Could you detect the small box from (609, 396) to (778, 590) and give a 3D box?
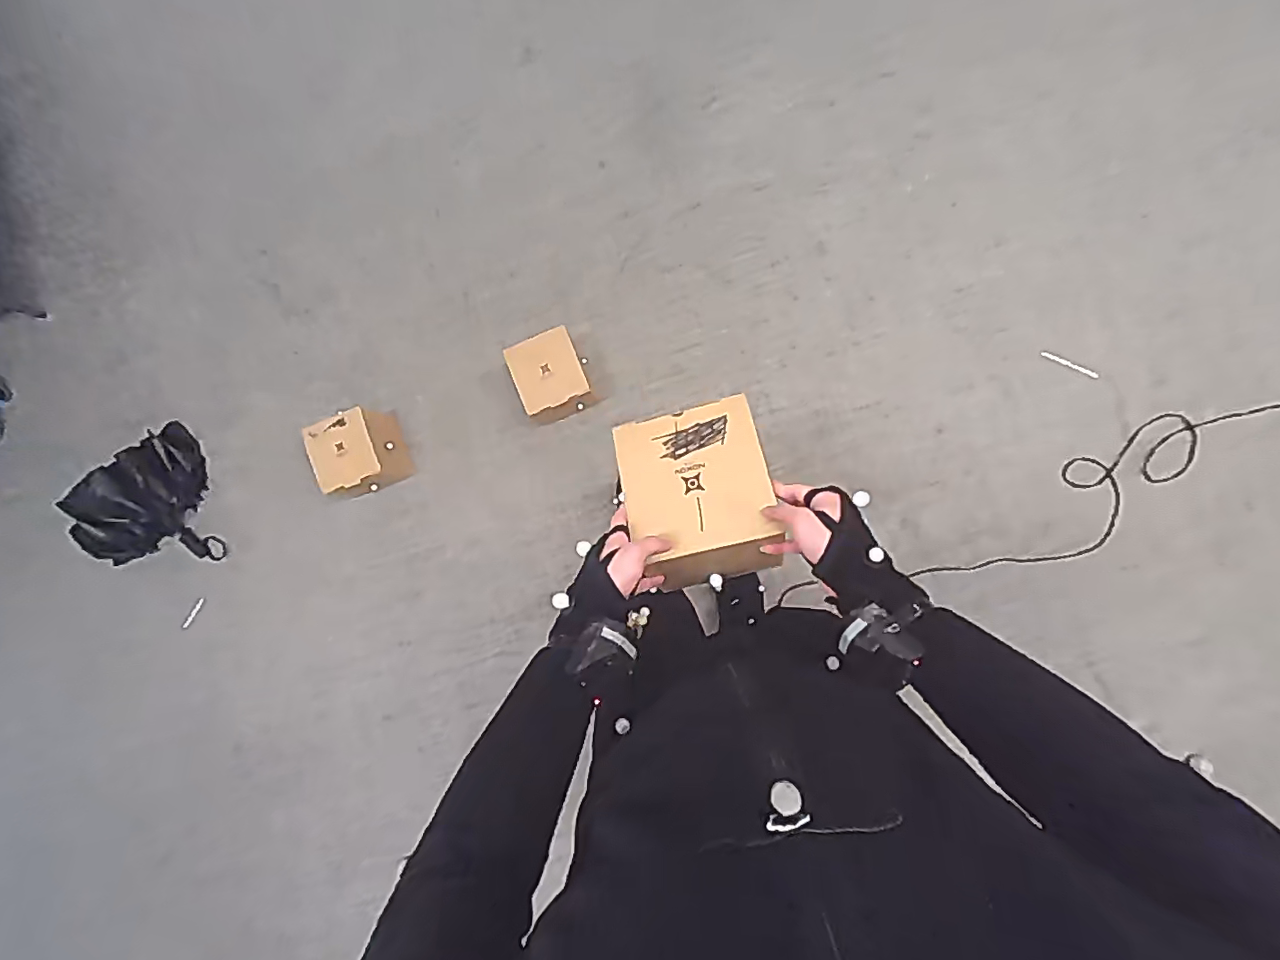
[{"bbox_3d":[0.070,0.026,0.679,0.168,0.176,0.179,-14,66,10],"label":"small box"}]

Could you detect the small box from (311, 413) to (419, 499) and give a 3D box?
[{"bbox_3d":[-0.714,-0.059,1.425,0.168,0.176,0.179,-21,86,4],"label":"small box"}]

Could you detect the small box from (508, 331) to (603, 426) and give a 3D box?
[{"bbox_3d":[-0.207,-0.247,1.377,0.168,0.176,0.179,-23,84,4],"label":"small box"}]
